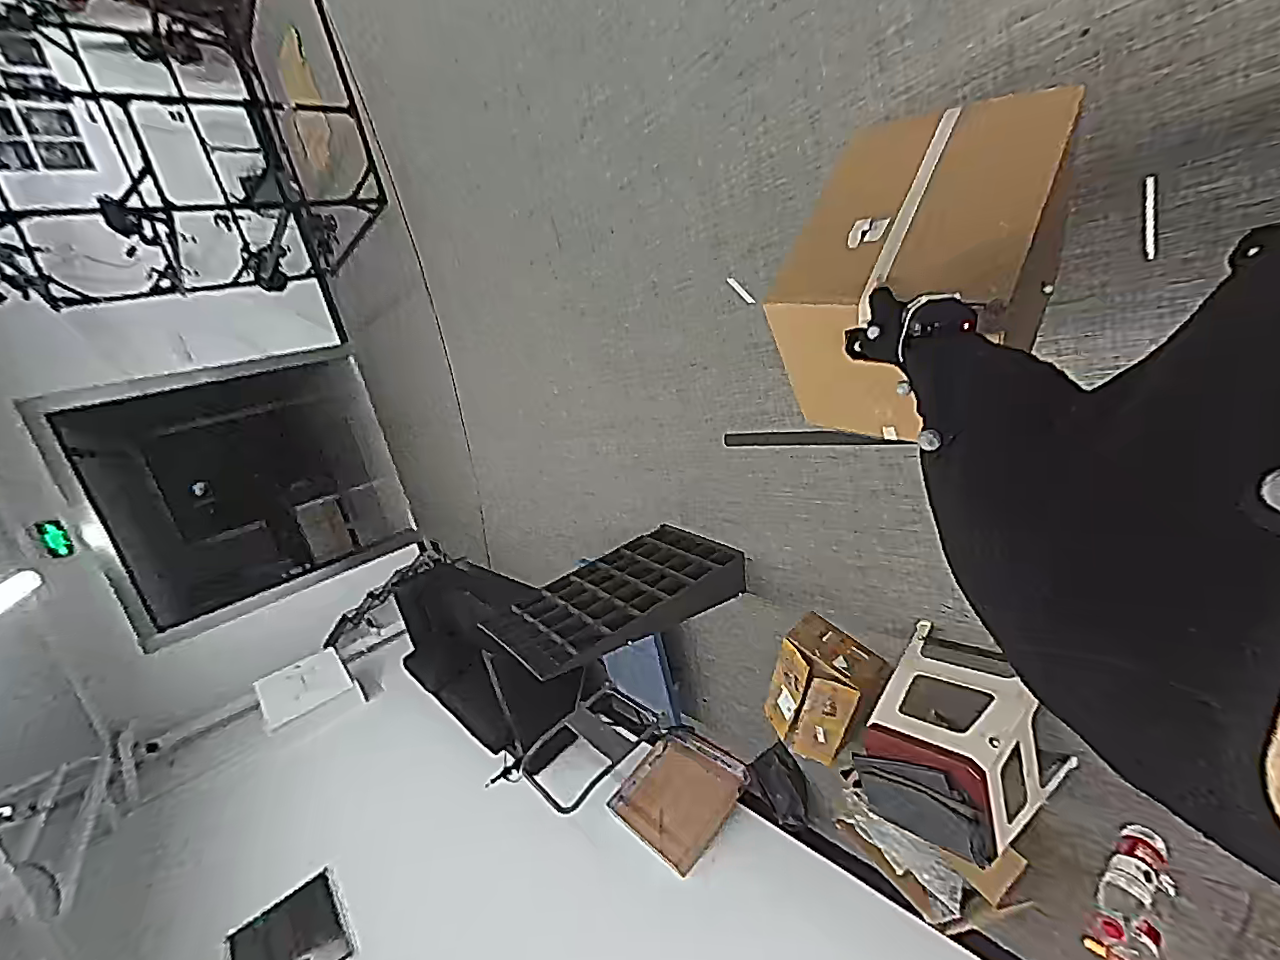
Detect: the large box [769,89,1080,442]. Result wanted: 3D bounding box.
[{"bbox_3d":[0.465,-0.330,0.886,0.320,0.408,0.320,16,160,39],"label":"large box"}]
